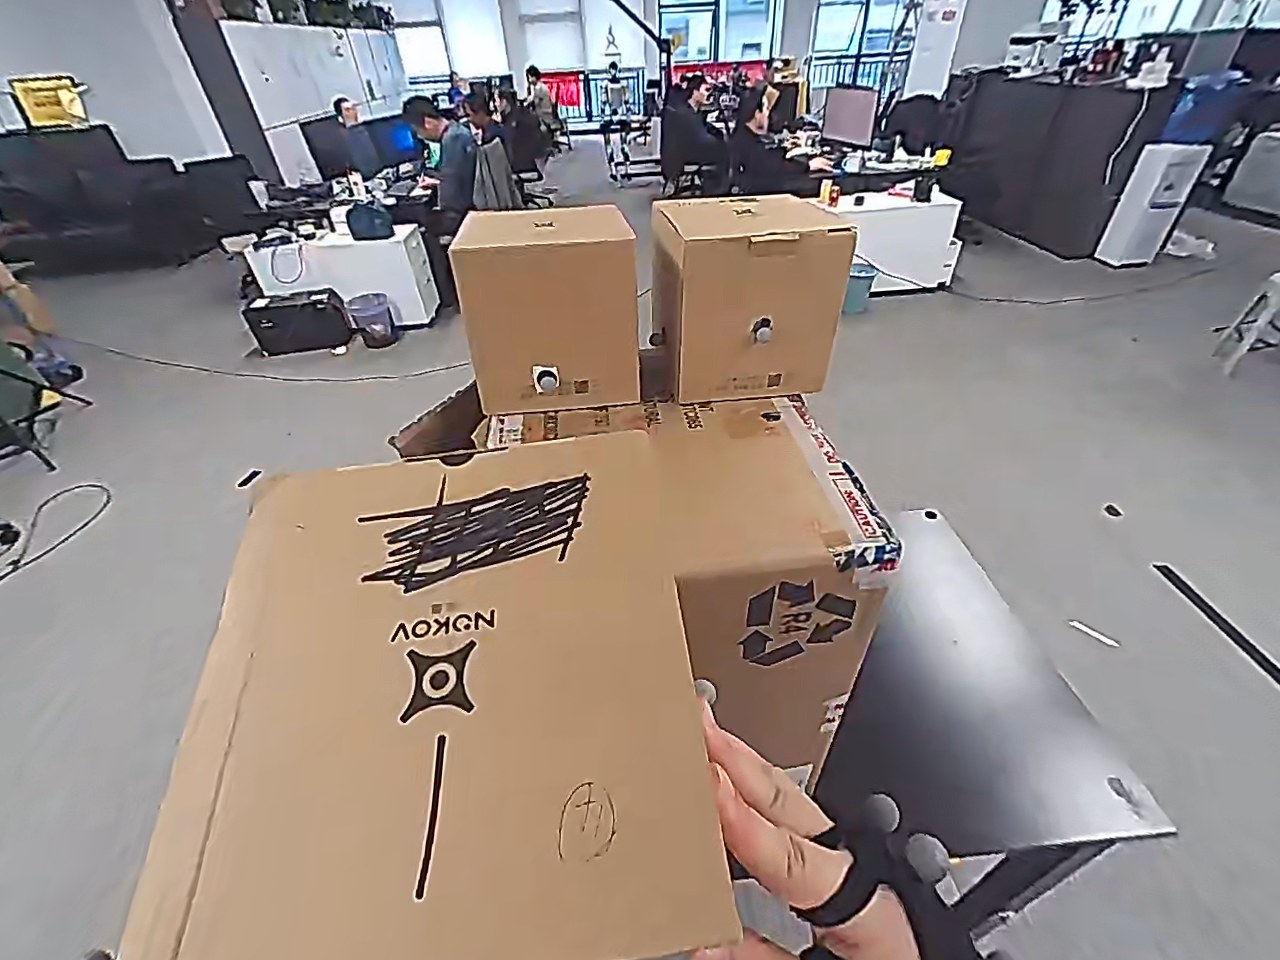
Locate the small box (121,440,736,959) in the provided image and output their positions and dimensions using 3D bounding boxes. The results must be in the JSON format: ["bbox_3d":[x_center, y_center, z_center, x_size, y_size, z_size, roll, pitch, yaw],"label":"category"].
[{"bbox_3d":[-0.062,0.107,0.254,0.168,0.176,0.179,-8,55,-2],"label":"small box"}]
